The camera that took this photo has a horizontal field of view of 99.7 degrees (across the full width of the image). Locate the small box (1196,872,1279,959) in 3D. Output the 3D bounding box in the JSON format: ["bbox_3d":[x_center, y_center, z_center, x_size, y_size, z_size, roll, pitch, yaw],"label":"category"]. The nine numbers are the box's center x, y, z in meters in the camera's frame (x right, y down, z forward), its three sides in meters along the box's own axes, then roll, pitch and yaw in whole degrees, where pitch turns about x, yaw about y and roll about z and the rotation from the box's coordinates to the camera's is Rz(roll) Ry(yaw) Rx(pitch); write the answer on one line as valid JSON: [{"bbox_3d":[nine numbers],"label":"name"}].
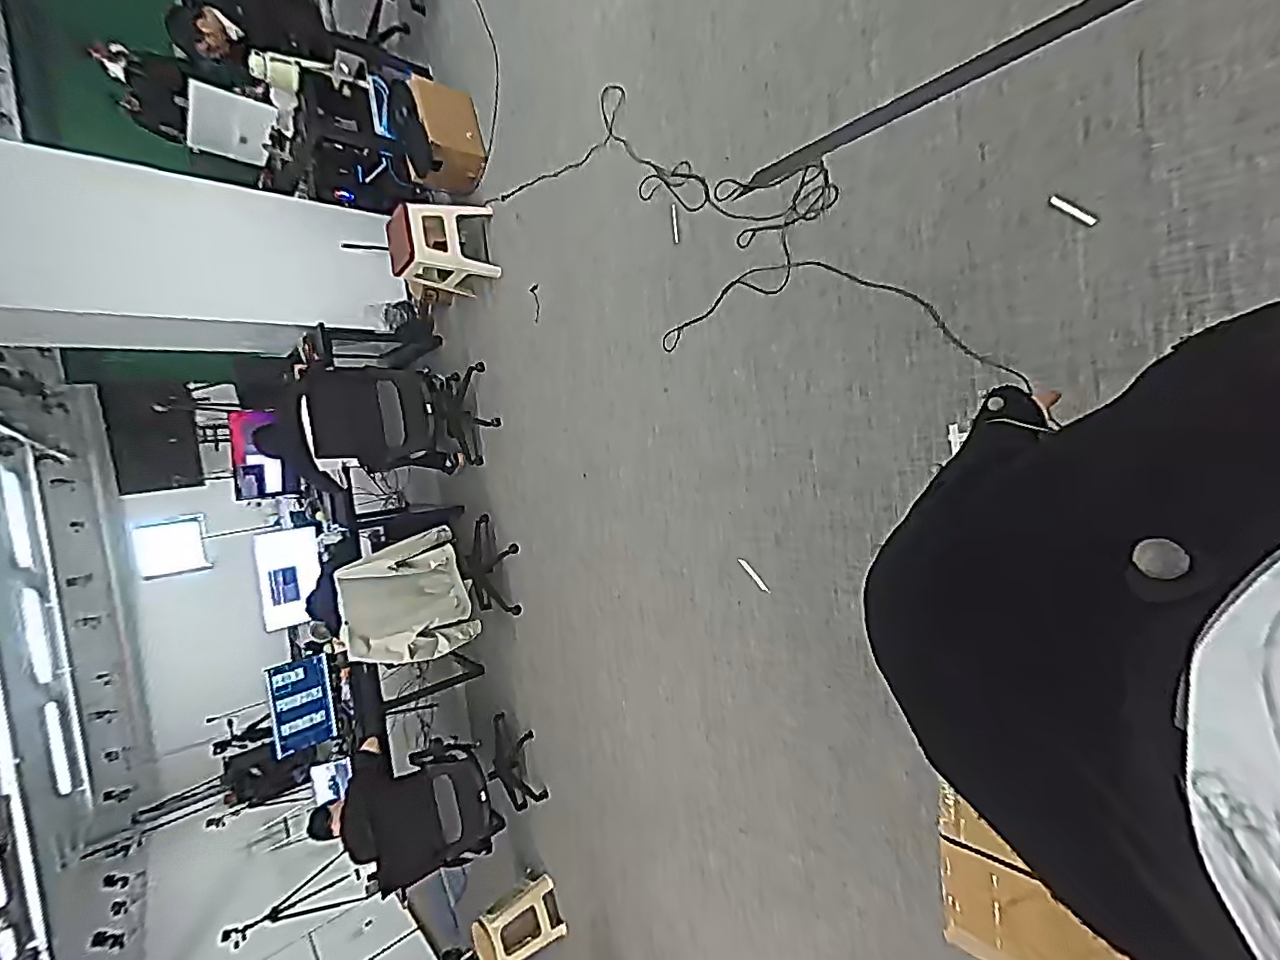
[{"bbox_3d":[0.707,0.574,0.565,0.168,0.176,0.179,-1,93,49],"label":"small box"}]
